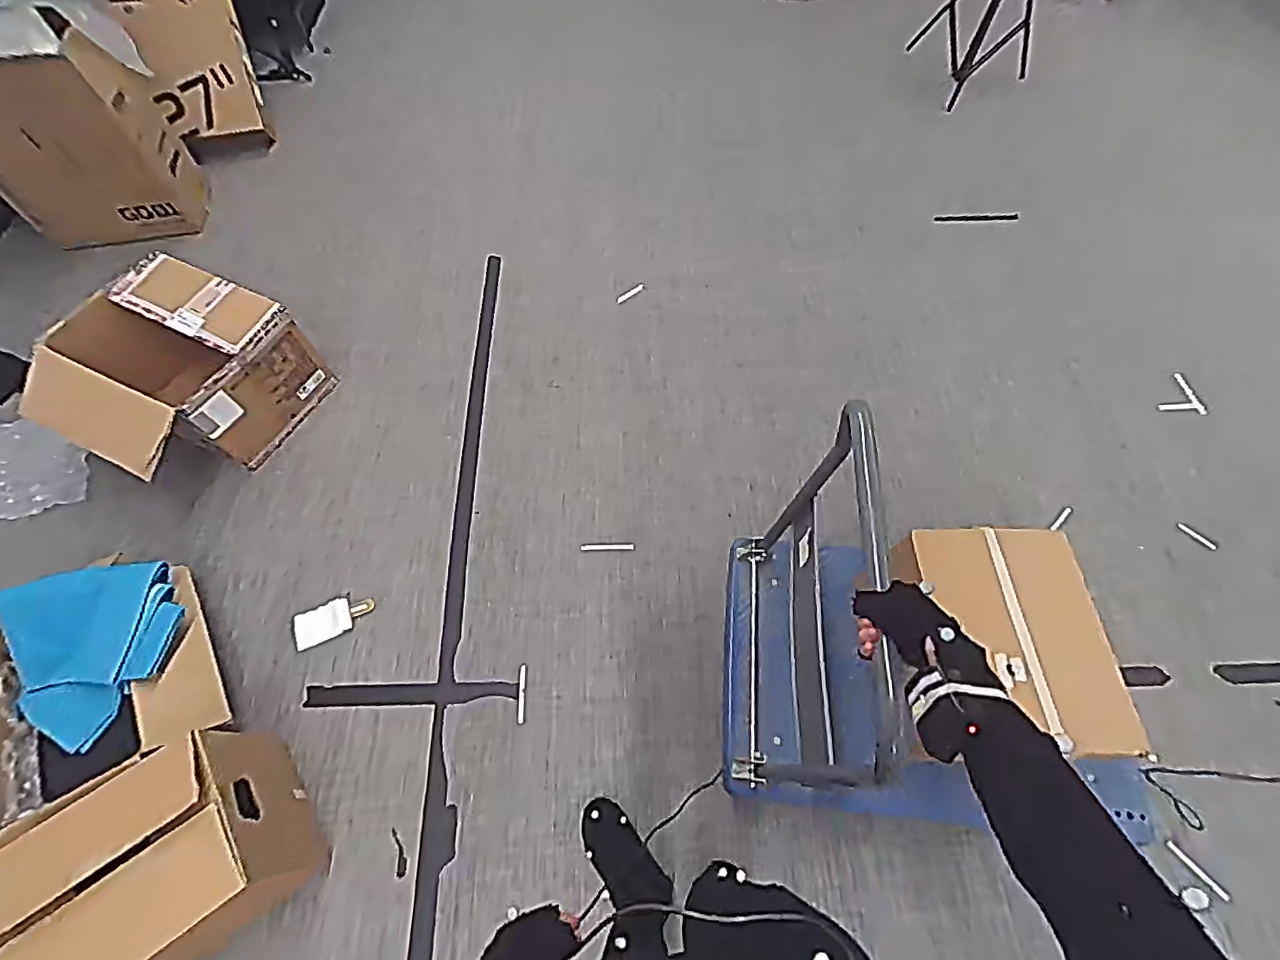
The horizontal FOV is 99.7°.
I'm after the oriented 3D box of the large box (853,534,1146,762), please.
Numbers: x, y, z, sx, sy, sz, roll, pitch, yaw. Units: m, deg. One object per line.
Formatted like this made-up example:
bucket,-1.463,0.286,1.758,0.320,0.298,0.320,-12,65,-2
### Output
large box,0.680,0.350,1.113,0.320,0.320,0.408,0,62,-1
